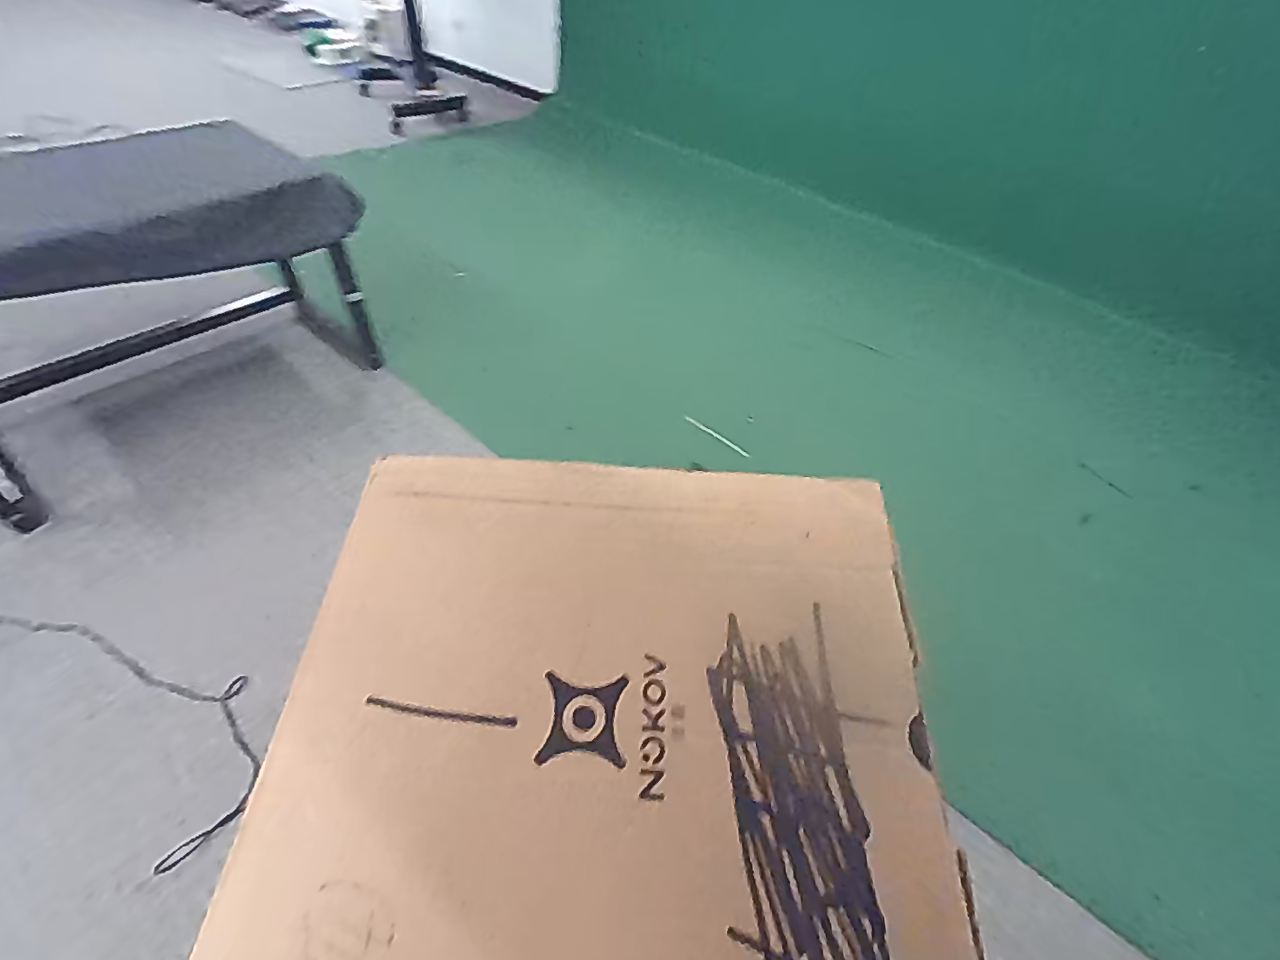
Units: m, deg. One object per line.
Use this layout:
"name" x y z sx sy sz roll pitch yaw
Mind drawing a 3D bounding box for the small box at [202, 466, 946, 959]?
"small box" -0.019 0.110 0.220 0.179 0.176 0.168 2 58 -5
